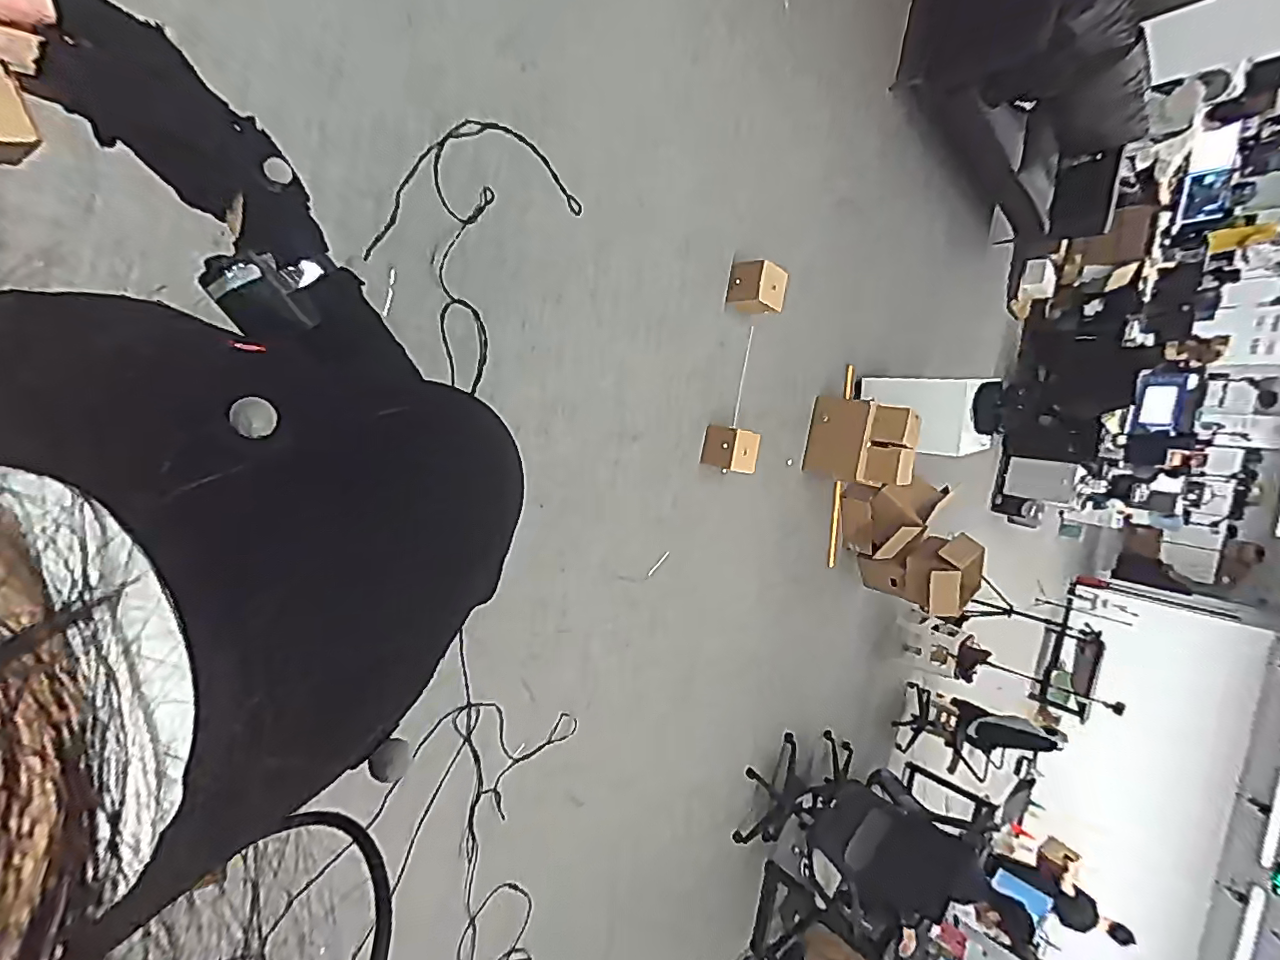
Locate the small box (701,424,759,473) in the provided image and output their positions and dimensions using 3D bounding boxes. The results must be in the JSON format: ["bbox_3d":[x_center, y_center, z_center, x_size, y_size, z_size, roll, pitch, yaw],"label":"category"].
[{"bbox_3d":[0.383,-0.137,2.328,0.168,0.176,0.179,7,94,-43],"label":"small box"}]

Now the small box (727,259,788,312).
[{"bbox_3d":[0.493,-0.812,2.278,0.179,0.176,0.168,7,94,-44],"label":"small box"}]
